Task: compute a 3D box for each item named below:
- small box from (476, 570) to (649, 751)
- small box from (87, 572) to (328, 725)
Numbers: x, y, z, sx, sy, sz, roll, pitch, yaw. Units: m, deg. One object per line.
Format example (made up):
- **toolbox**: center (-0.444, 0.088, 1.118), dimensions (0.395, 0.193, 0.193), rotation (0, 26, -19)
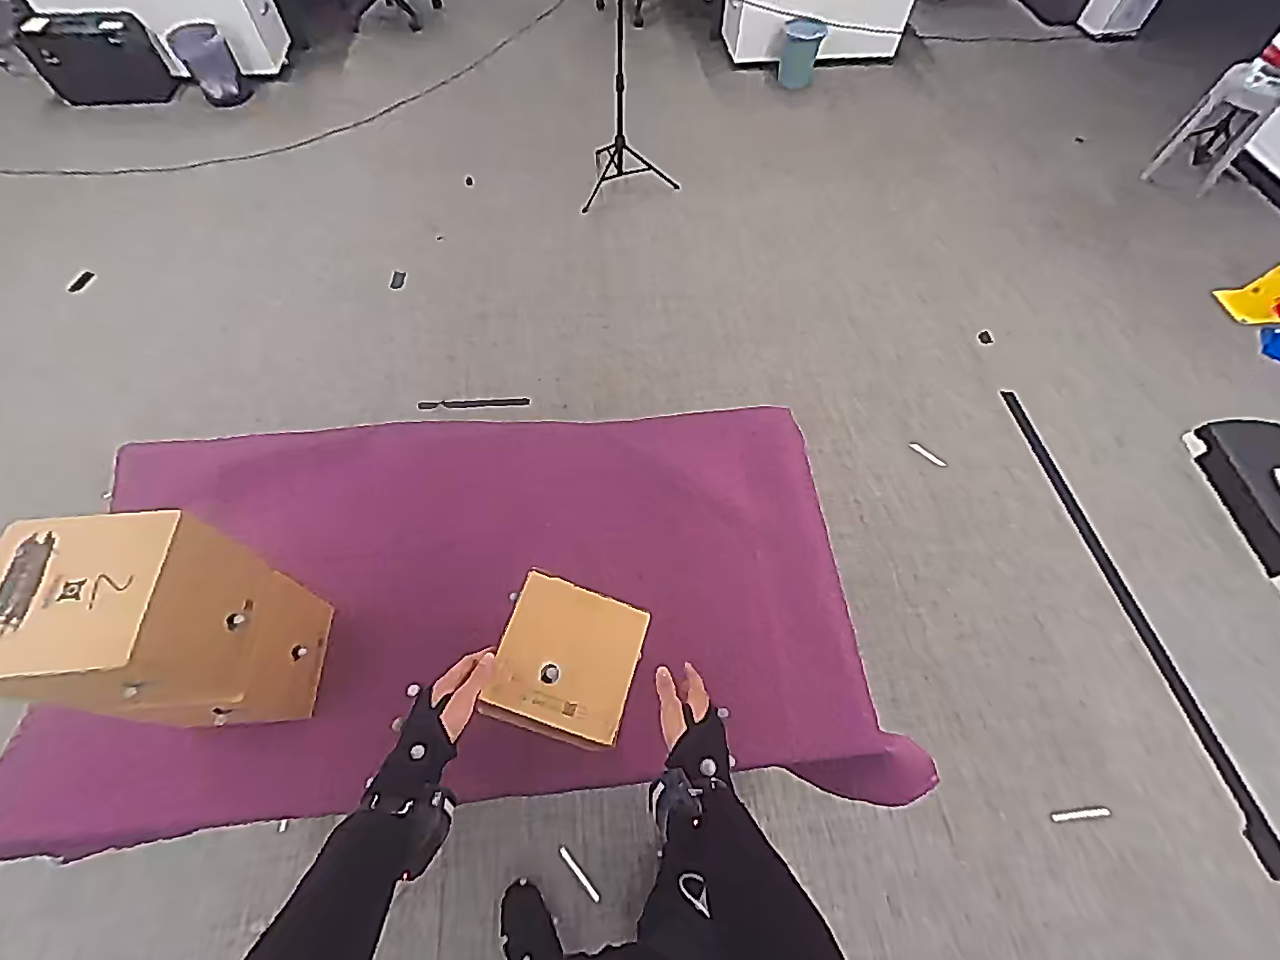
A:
- **small box**: center (-0.106, 0.249, 0.719), dimensions (0.168, 0.179, 0.176), rotation (21, 60, -3)
- **small box**: center (-0.561, 0.233, 0.737), dimensions (0.179, 0.176, 0.168), rotation (-2, 60, -3)
